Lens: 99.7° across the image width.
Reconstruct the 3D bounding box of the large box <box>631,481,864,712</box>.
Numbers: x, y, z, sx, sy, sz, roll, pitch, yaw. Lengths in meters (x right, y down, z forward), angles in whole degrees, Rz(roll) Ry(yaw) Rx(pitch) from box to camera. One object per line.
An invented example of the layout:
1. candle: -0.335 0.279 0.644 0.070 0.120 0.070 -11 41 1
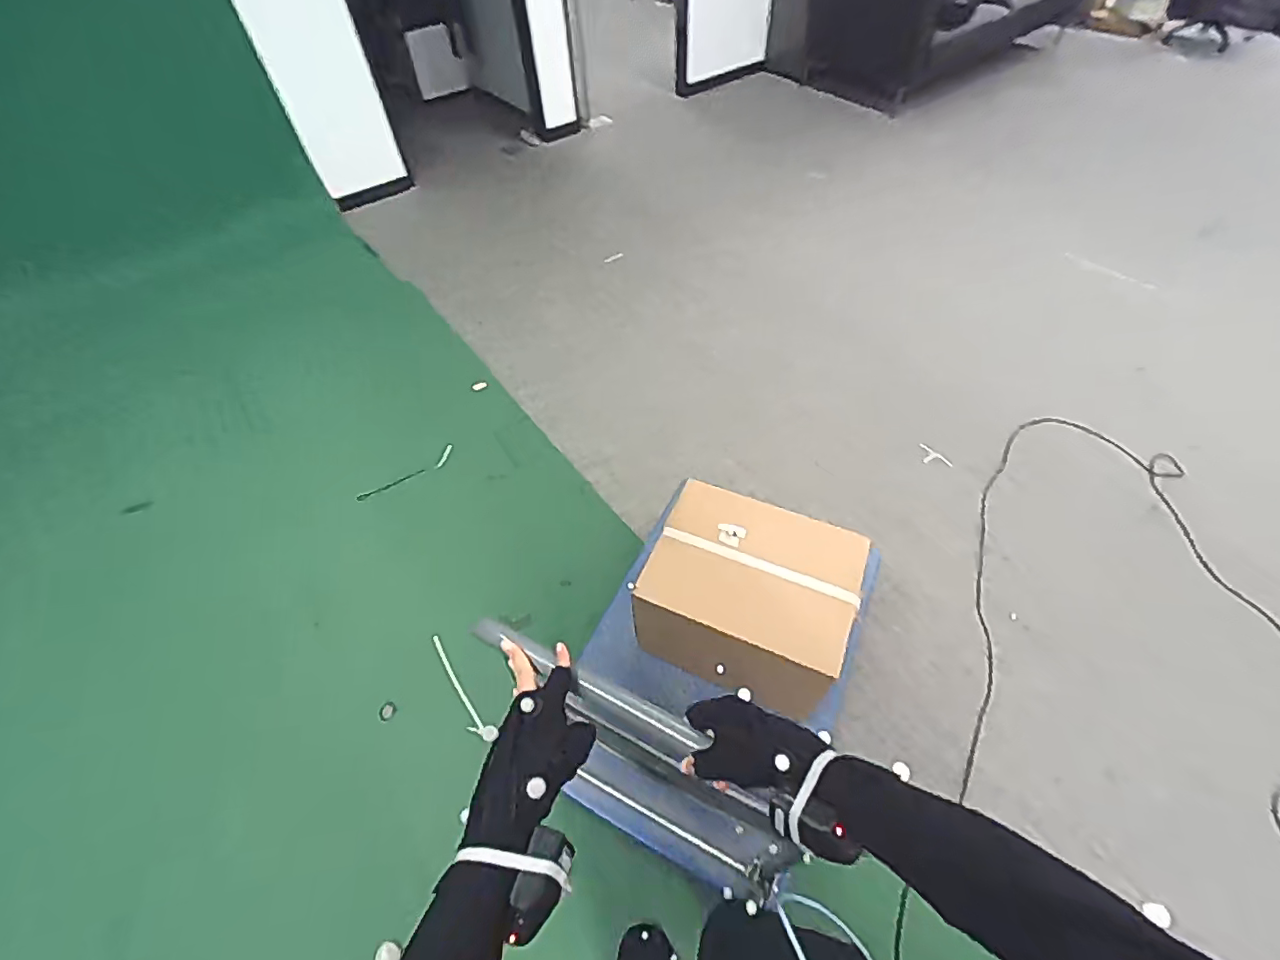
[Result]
1. large box: 0.232 0.260 1.206 0.408 0.320 0.320 18 55 17
